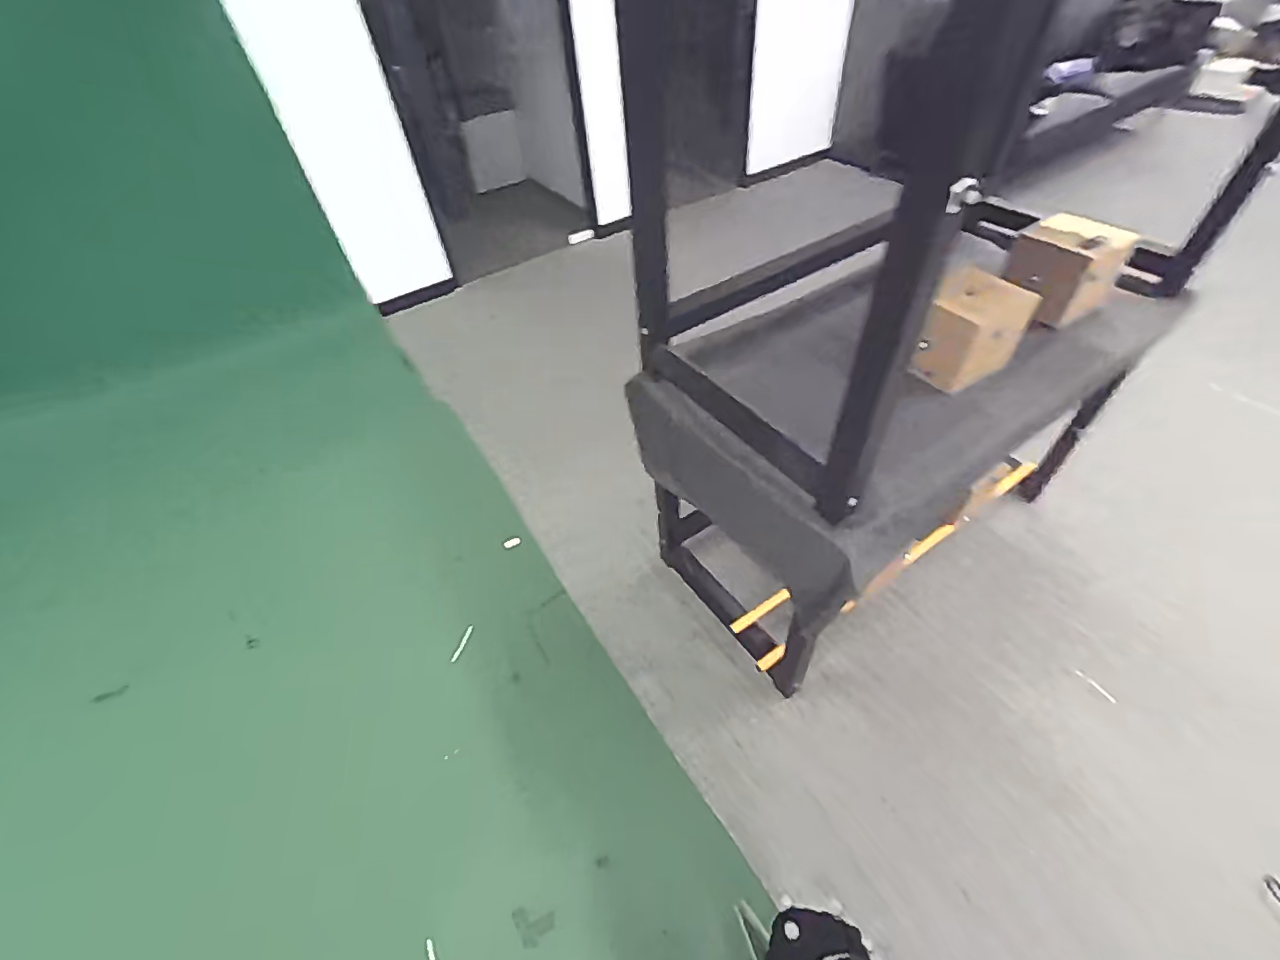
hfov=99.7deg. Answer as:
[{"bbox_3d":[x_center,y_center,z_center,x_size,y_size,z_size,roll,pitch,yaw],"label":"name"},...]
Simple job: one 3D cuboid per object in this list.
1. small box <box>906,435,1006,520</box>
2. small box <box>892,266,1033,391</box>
[{"bbox_3d":[0.960,0.001,1.657,0.168,0.176,0.179,-26,51,-18],"label":"small box"},{"bbox_3d":[0.655,-0.314,1.128,0.179,0.176,0.168,-26,51,-18],"label":"small box"}]
